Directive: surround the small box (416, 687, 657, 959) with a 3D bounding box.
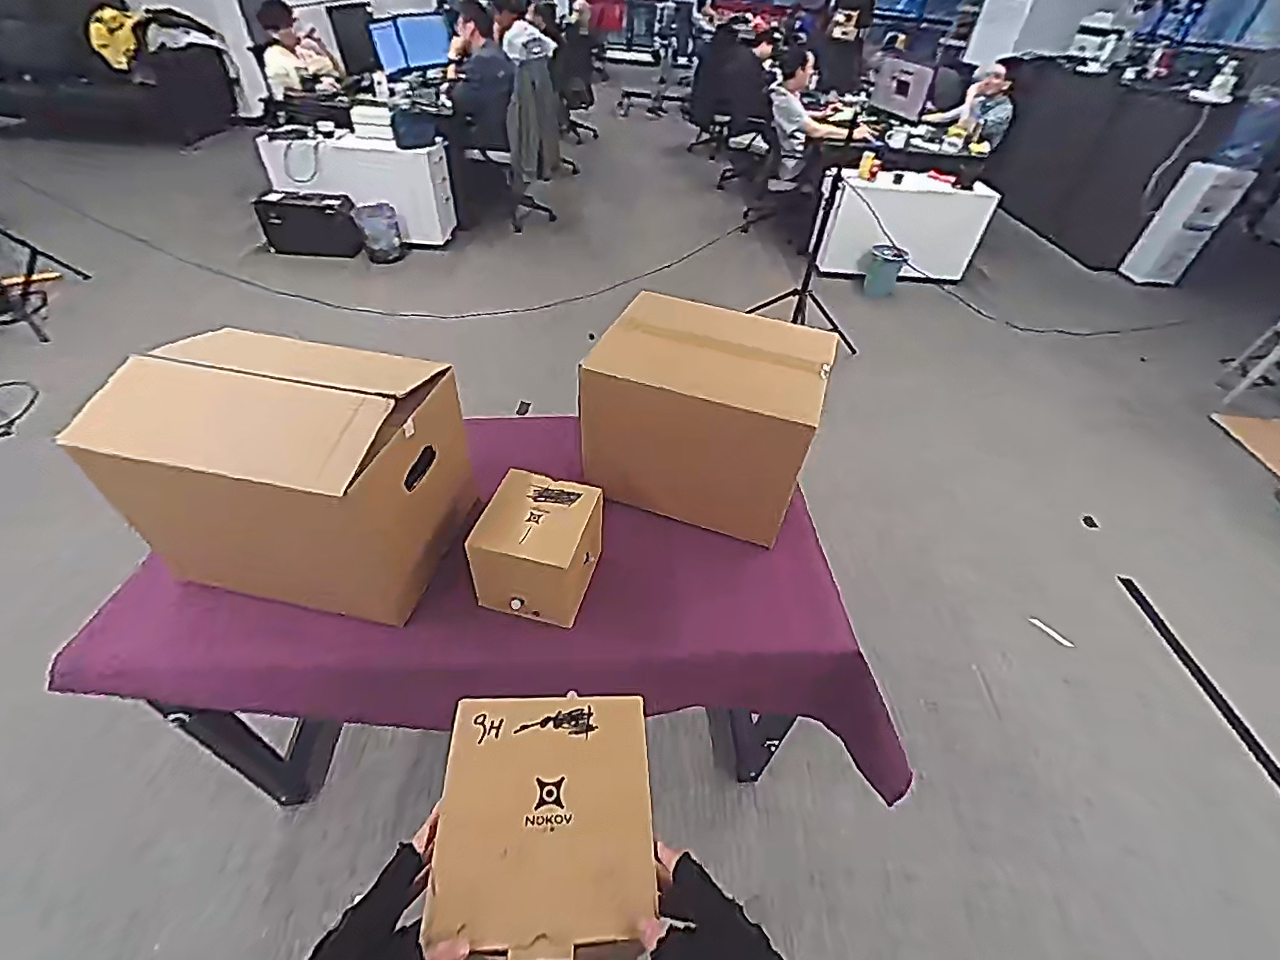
[{"bbox_3d":[-0.081,0.303,0.478,0.168,0.176,0.179,2,45,-8],"label":"small box"}]

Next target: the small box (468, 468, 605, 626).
[{"bbox_3d":[-0.164,0.111,0.904,0.168,0.176,0.179,12,44,8],"label":"small box"}]
